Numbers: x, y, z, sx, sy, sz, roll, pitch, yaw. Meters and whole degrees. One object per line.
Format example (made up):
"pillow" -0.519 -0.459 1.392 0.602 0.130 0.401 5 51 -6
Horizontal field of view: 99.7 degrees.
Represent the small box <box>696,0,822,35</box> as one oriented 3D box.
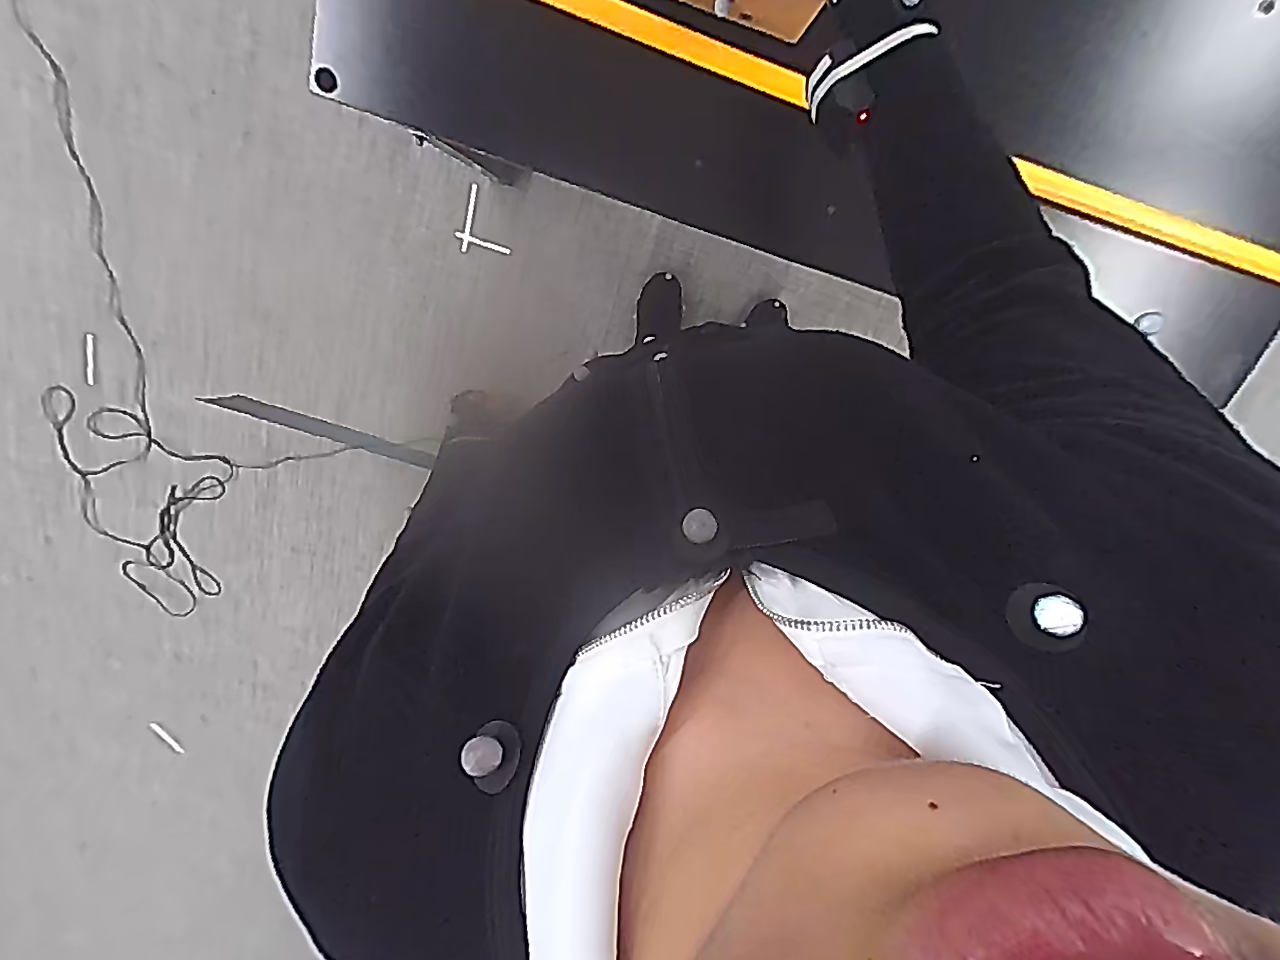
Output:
"small box" 0.117 -0.543 0.468 0.168 0.176 0.179 16 111 -6
